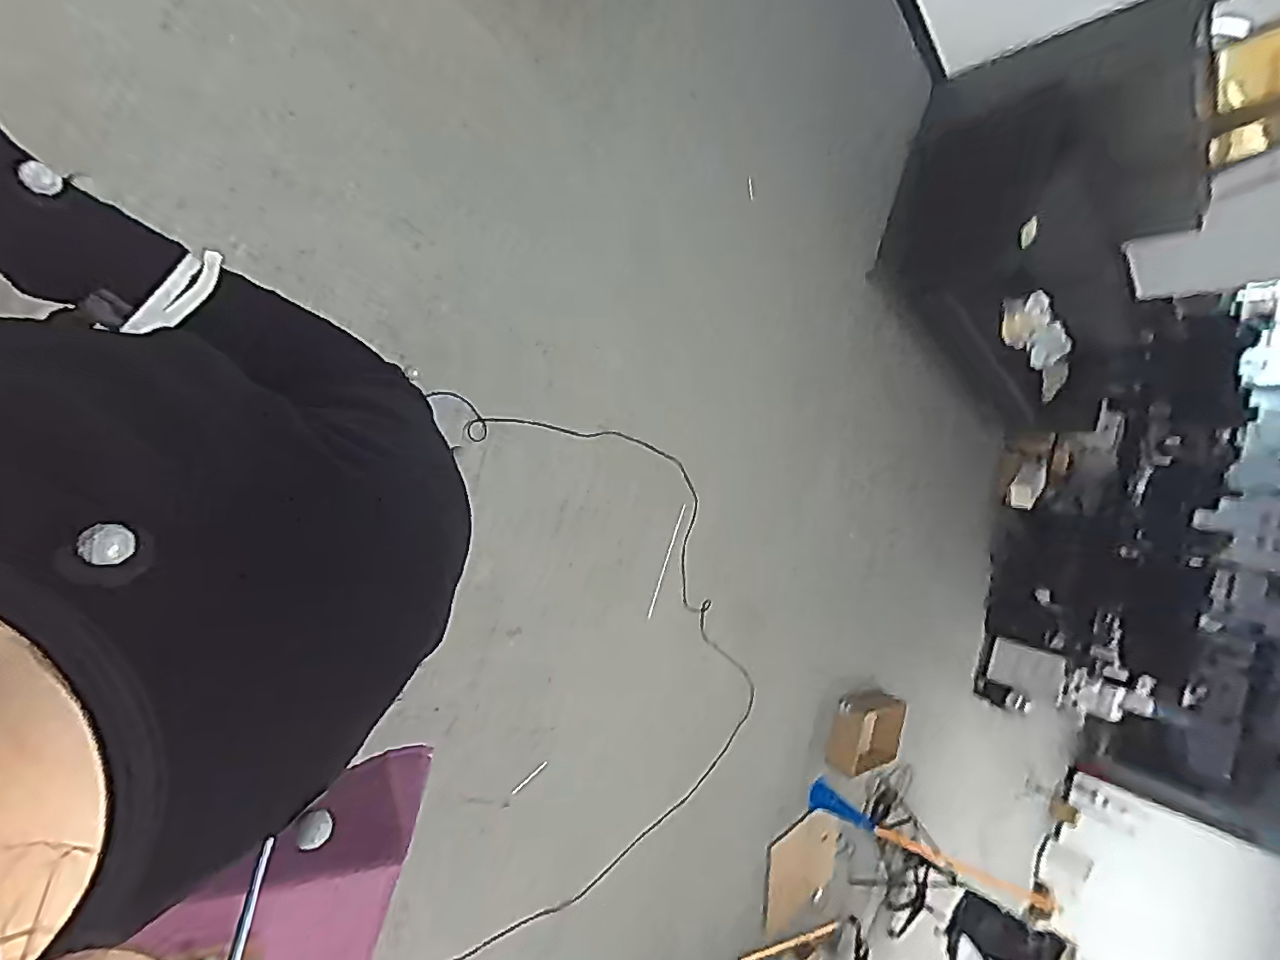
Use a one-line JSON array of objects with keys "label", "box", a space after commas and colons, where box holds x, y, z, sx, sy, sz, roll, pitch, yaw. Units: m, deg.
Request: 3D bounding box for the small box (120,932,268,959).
[{"label": "small box", "box": [-0.536, 0.674, 0.611, 0.168, 0.176, 0.179, 27, 79, -41]}]
